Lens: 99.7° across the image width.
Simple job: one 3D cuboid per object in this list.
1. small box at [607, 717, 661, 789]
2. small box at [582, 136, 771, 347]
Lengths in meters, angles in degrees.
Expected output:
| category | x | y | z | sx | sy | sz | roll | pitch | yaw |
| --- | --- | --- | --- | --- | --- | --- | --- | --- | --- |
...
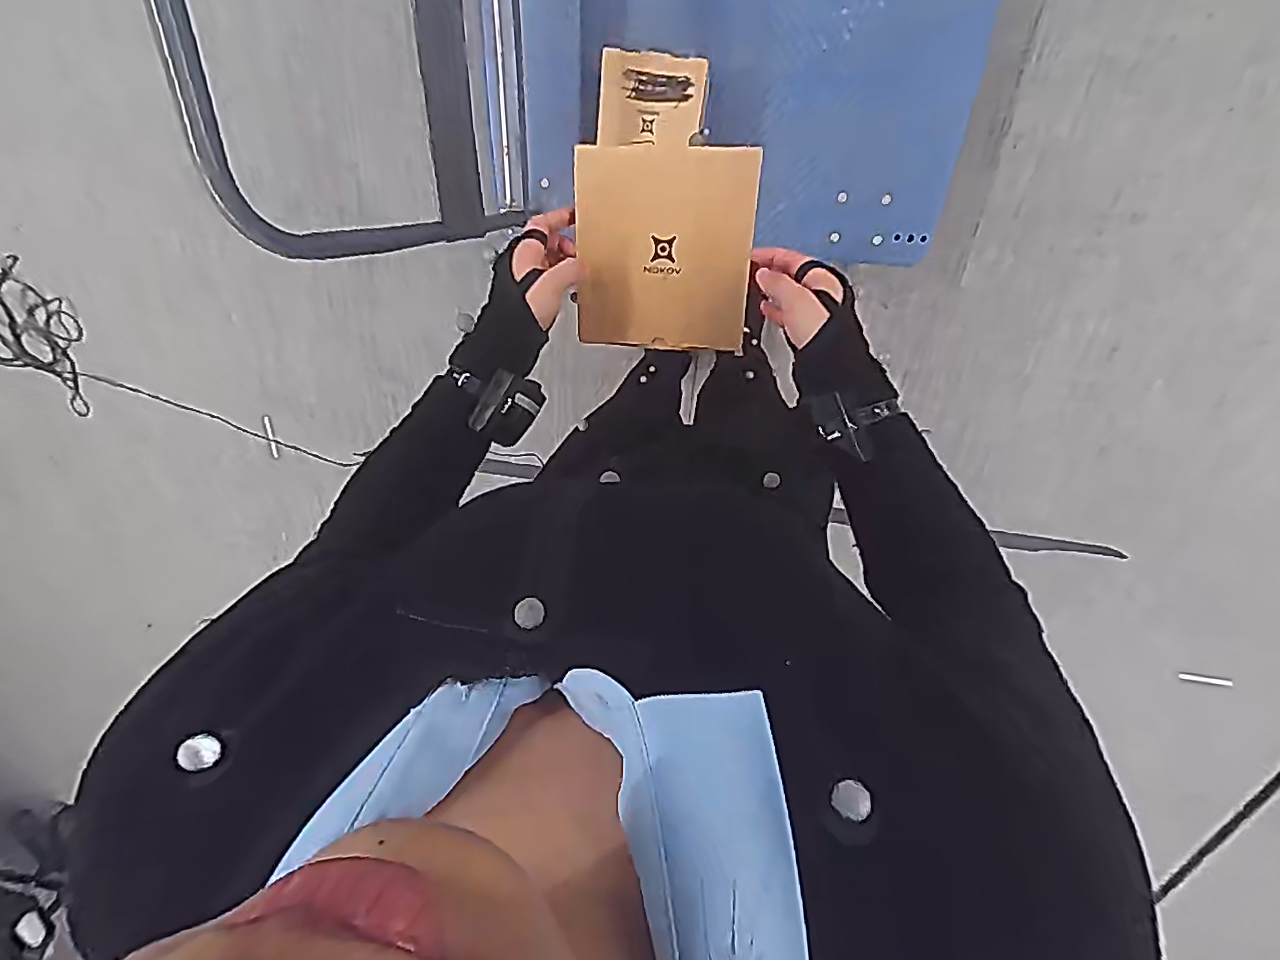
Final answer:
| category | x | y | z | sx | sy | sz | roll | pitch | yaw |
| --- | --- | --- | --- | --- | --- | --- | --- | --- | --- |
| small box | -0.018 | 1.007 | 1.998 | 0.168 | 0.176 | 0.179 | -4 | 117 | 9 |
| small box | 0.035 | -0.250 | 0.569 | 0.168 | 0.176 | 0.179 | 4 | 119 | 5 |
